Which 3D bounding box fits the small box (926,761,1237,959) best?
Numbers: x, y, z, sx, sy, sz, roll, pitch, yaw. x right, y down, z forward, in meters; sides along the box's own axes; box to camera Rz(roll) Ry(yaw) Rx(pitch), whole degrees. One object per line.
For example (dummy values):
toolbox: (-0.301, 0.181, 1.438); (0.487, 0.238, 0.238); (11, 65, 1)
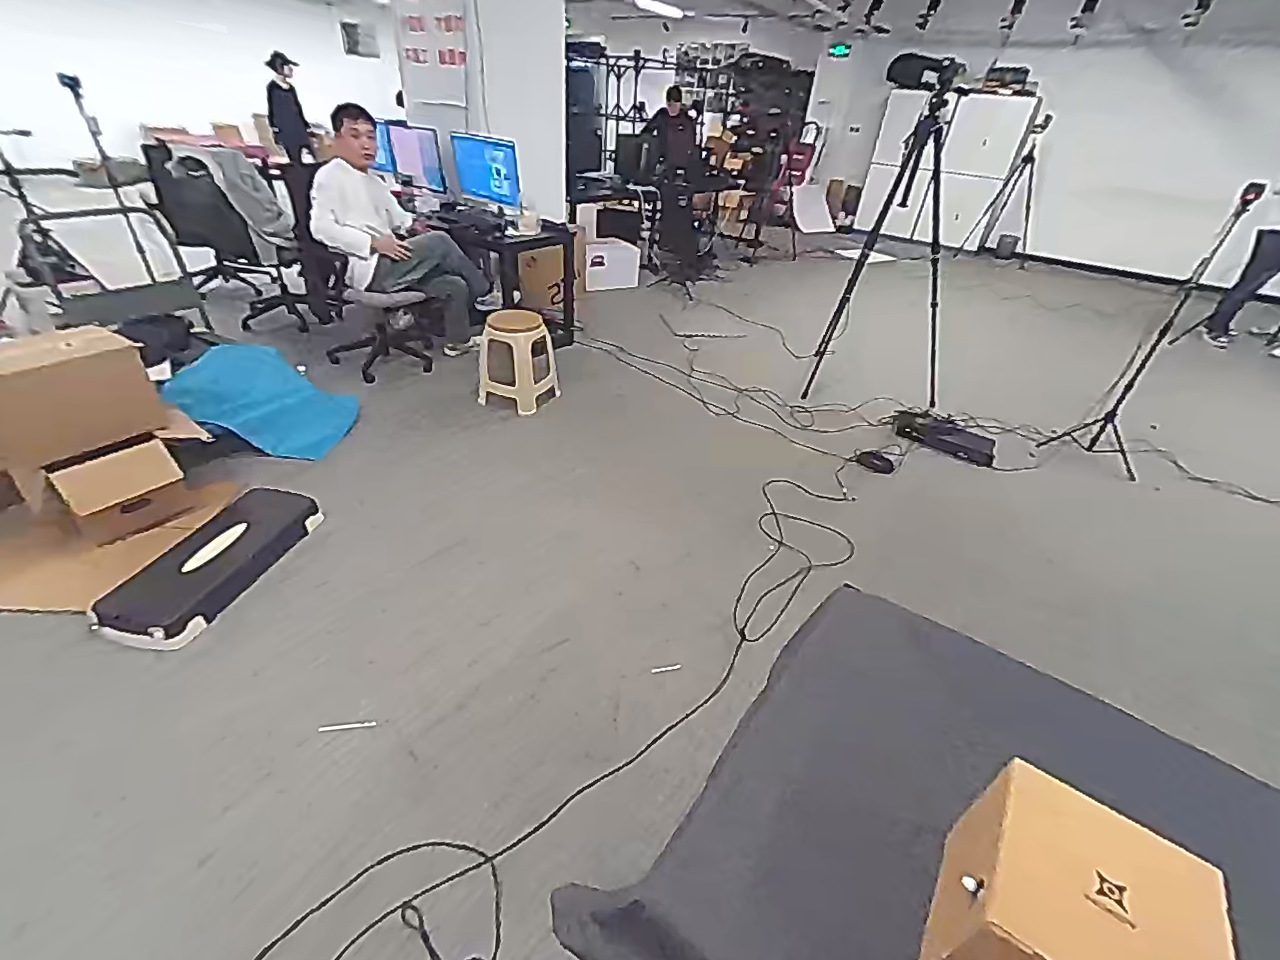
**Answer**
small box: (0.393, 0.418, 0.502); (0.168, 0.176, 0.179); (26, 40, 27)
